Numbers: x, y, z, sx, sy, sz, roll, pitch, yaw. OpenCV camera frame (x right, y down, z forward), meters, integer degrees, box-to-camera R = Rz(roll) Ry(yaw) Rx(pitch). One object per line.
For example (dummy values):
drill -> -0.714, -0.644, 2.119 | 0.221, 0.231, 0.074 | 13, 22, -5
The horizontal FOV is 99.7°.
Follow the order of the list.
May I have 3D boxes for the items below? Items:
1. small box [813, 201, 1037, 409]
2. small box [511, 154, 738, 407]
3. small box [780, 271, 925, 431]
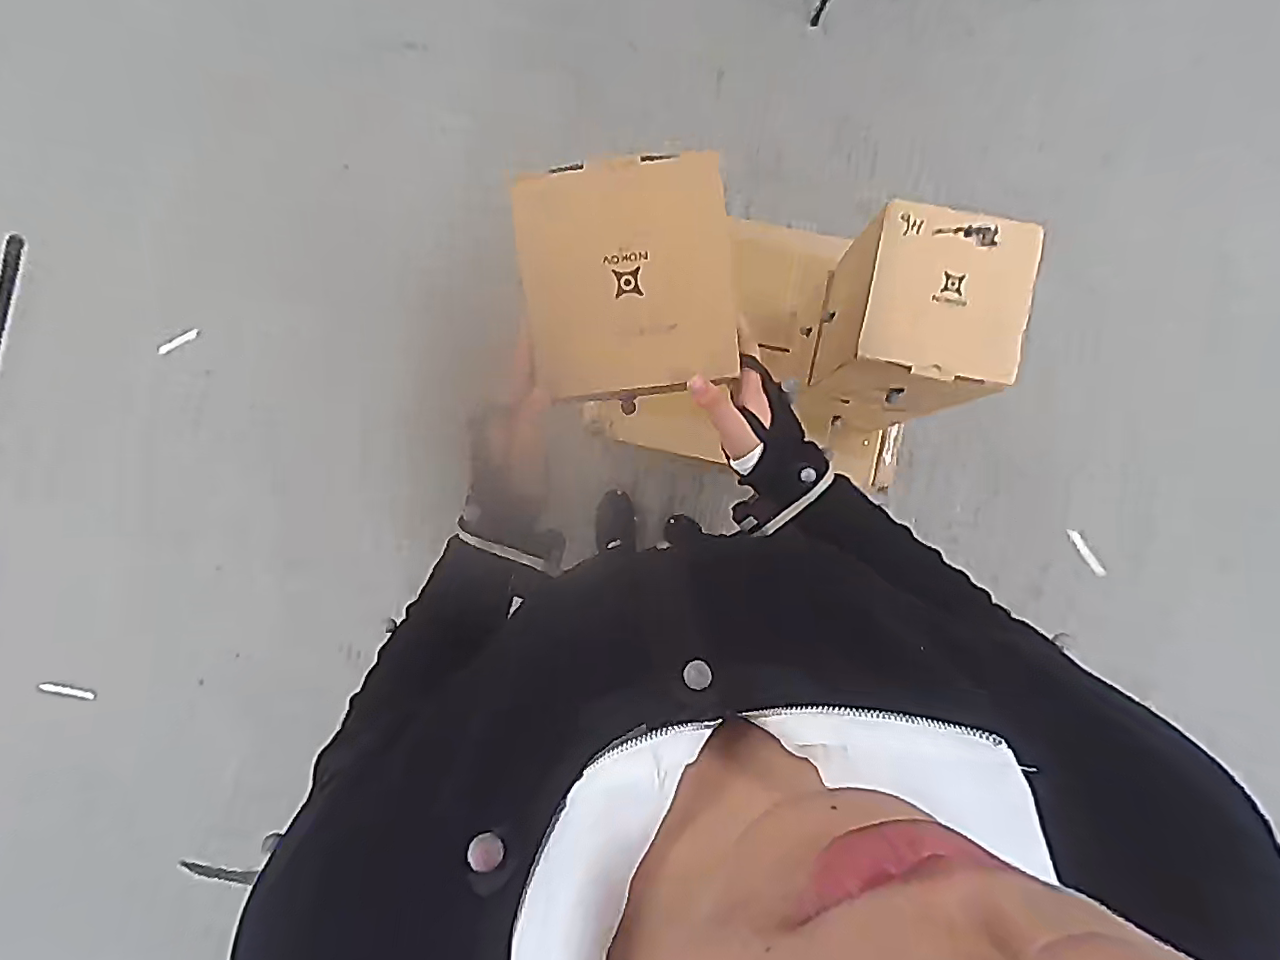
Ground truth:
small box -> 0.320, -0.192, 0.646 | 0.168, 0.176, 0.179 | 13, 89, 2
small box -> -0.012, -0.167, 0.506 | 0.168, 0.176, 0.179 | -7, 96, 0
small box -> 0.319, -0.181, 0.809 | 0.168, 0.176, 0.179 | 11, 88, 2
